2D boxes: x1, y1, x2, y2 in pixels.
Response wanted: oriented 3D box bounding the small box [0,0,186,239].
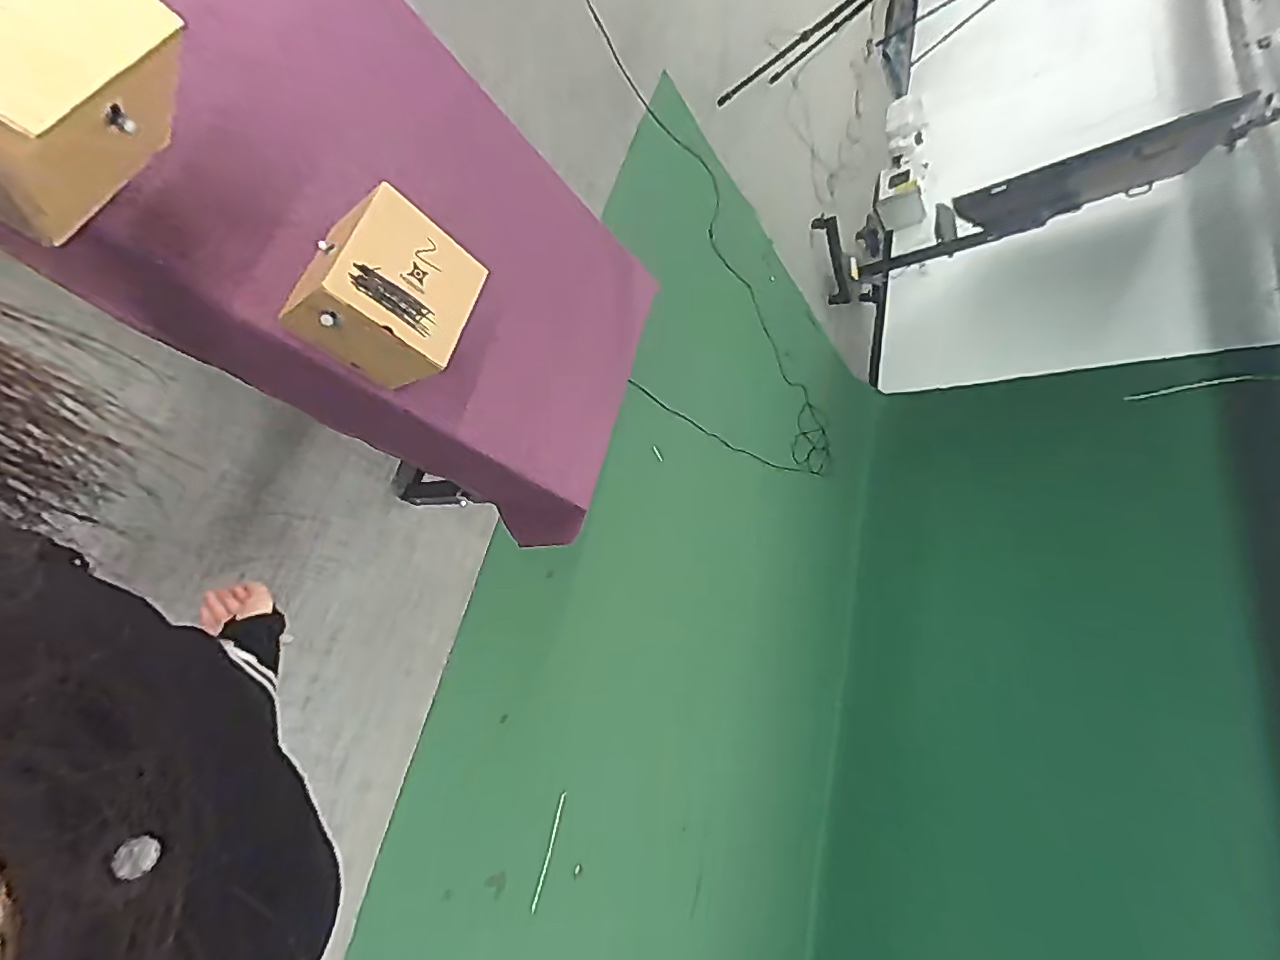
[{"bbox_3d":[-0.529,-0.346,0.446,0.168,0.176,0.179,35,58,-34],"label":"small box"}]
